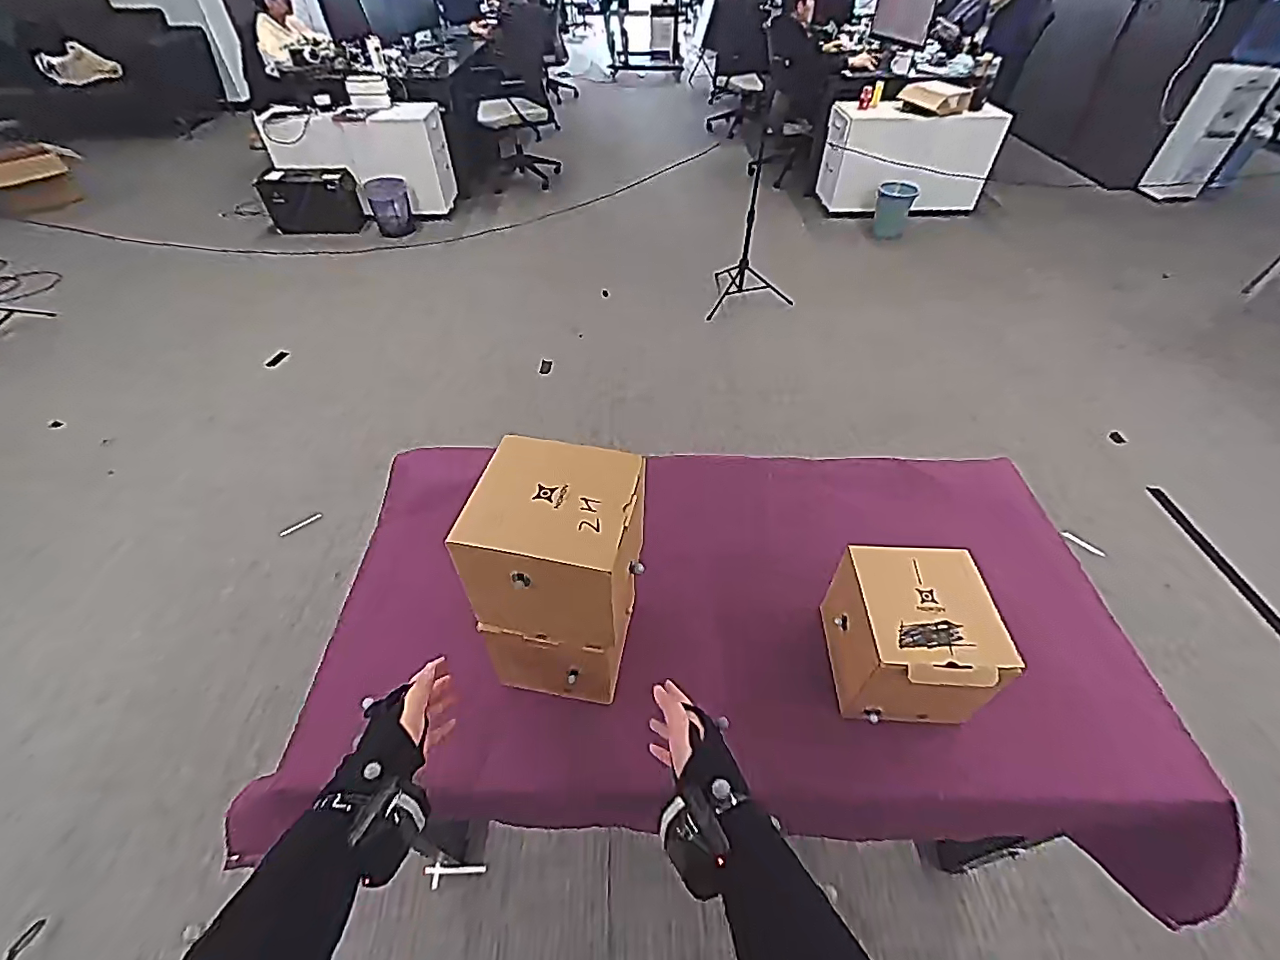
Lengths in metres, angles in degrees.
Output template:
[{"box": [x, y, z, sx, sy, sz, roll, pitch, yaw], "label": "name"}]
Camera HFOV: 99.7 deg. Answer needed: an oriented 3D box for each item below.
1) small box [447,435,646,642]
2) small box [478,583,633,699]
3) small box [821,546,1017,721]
[{"box": [-0.096, 0.072, 0.645, 0.179, 0.176, 0.168, 10, 48, 7], "label": "small box"}, {"box": [-0.103, 0.185, 0.764, 0.168, 0.176, 0.179, 9, 47, 7], "label": "small box"}, {"box": [0.360, 0.212, 0.740, 0.168, 0.176, 0.179, 2, 46, 2], "label": "small box"}]
